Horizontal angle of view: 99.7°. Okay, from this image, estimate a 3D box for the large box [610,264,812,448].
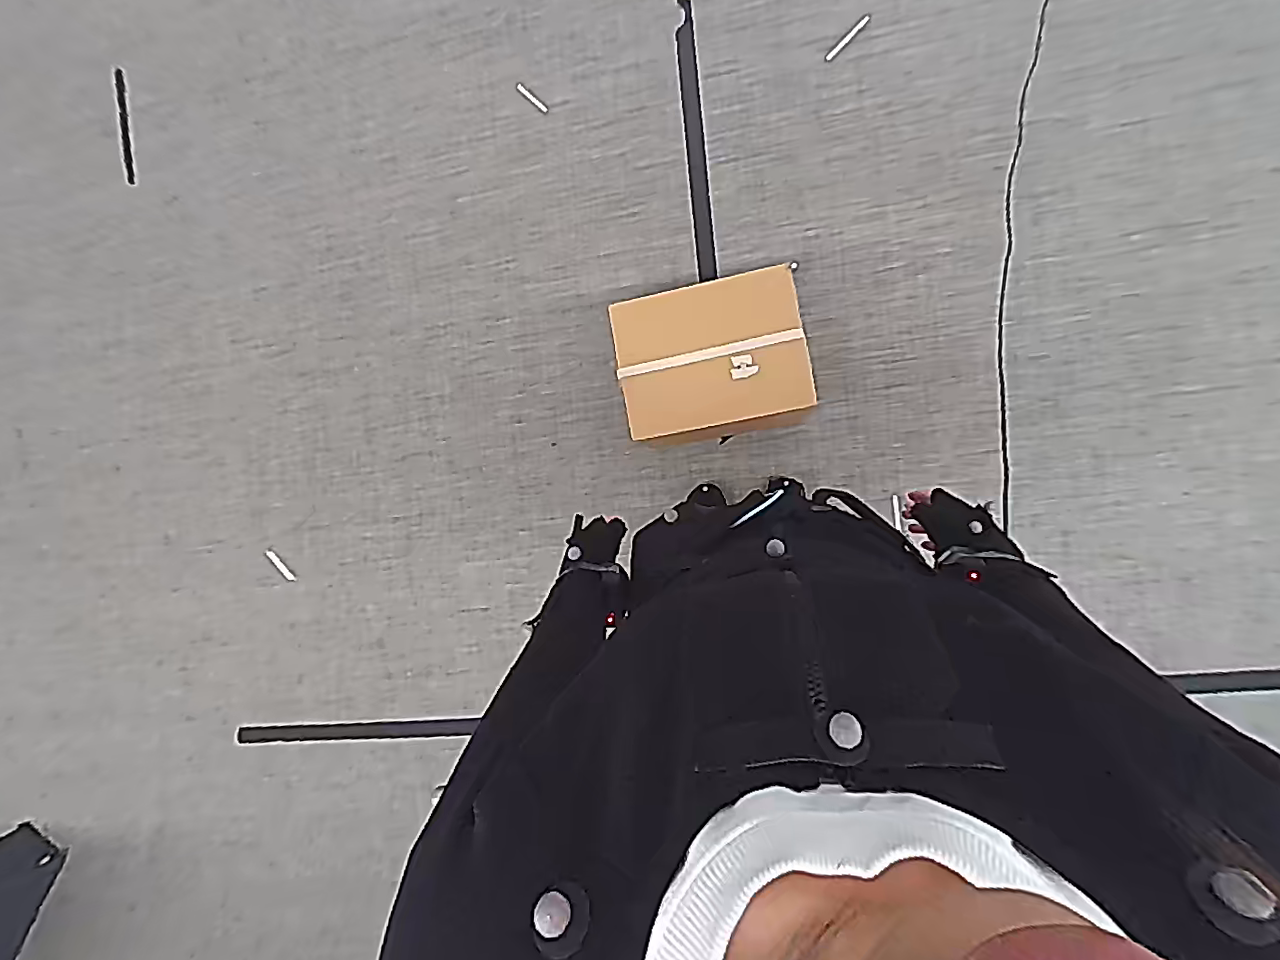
[{"bbox_3d":[0.172,-0.277,1.336,0.408,0.320,0.320,-10,88,9],"label":"large box"}]
